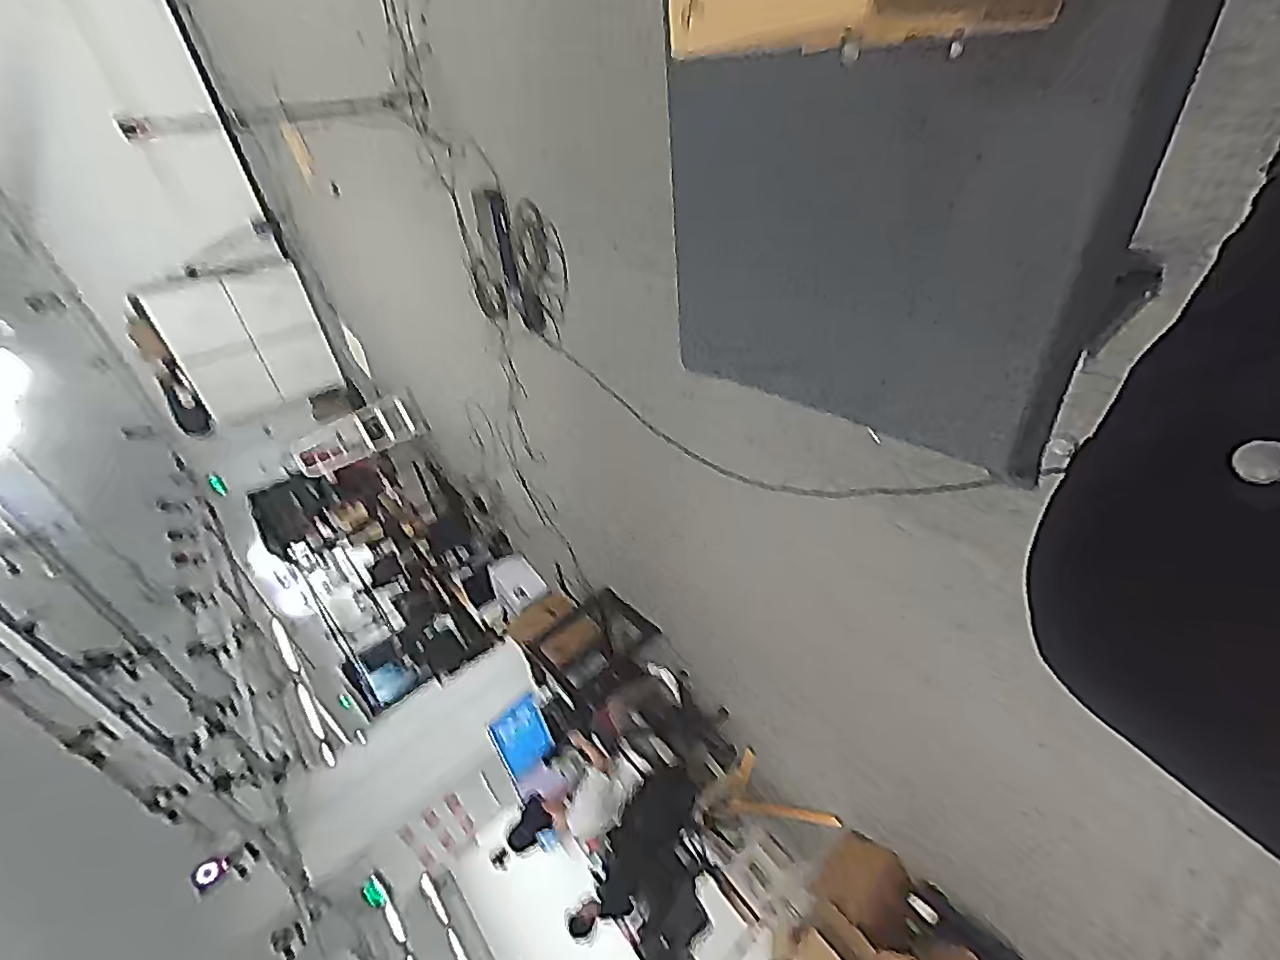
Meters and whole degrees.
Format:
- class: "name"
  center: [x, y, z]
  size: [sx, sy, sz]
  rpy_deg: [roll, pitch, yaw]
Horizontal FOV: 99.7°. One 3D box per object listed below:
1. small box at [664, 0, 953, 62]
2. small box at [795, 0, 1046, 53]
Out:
- class: "small box"
  center: [0.130, -0.416, 0.383]
  size: [0.179, 0.176, 0.168]
  rpy_deg: [28, 139, 41]
- class: "small box"
  center: [0.254, -0.489, 0.462]
  size: [0.168, 0.176, 0.179]
  rpy_deg: [30, 139, 39]
